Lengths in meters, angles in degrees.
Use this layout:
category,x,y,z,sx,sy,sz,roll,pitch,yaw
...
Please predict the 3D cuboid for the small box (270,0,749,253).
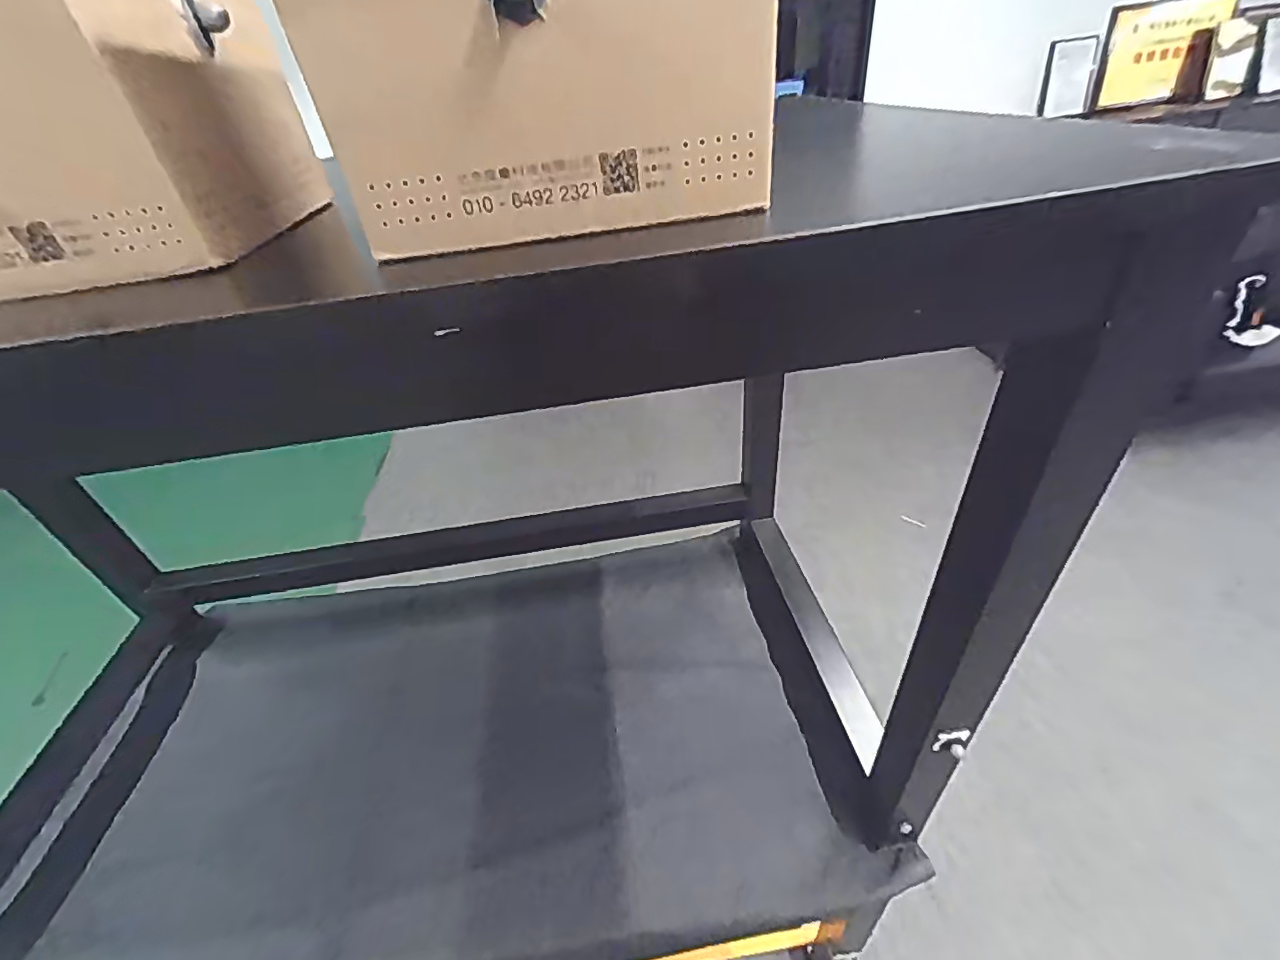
category,x,y,z,sx,sy,sz,roll,pitch,yaw
small box,-0.049,-0.211,0.245,0.168,0.176,0.179,-8,37,-1
